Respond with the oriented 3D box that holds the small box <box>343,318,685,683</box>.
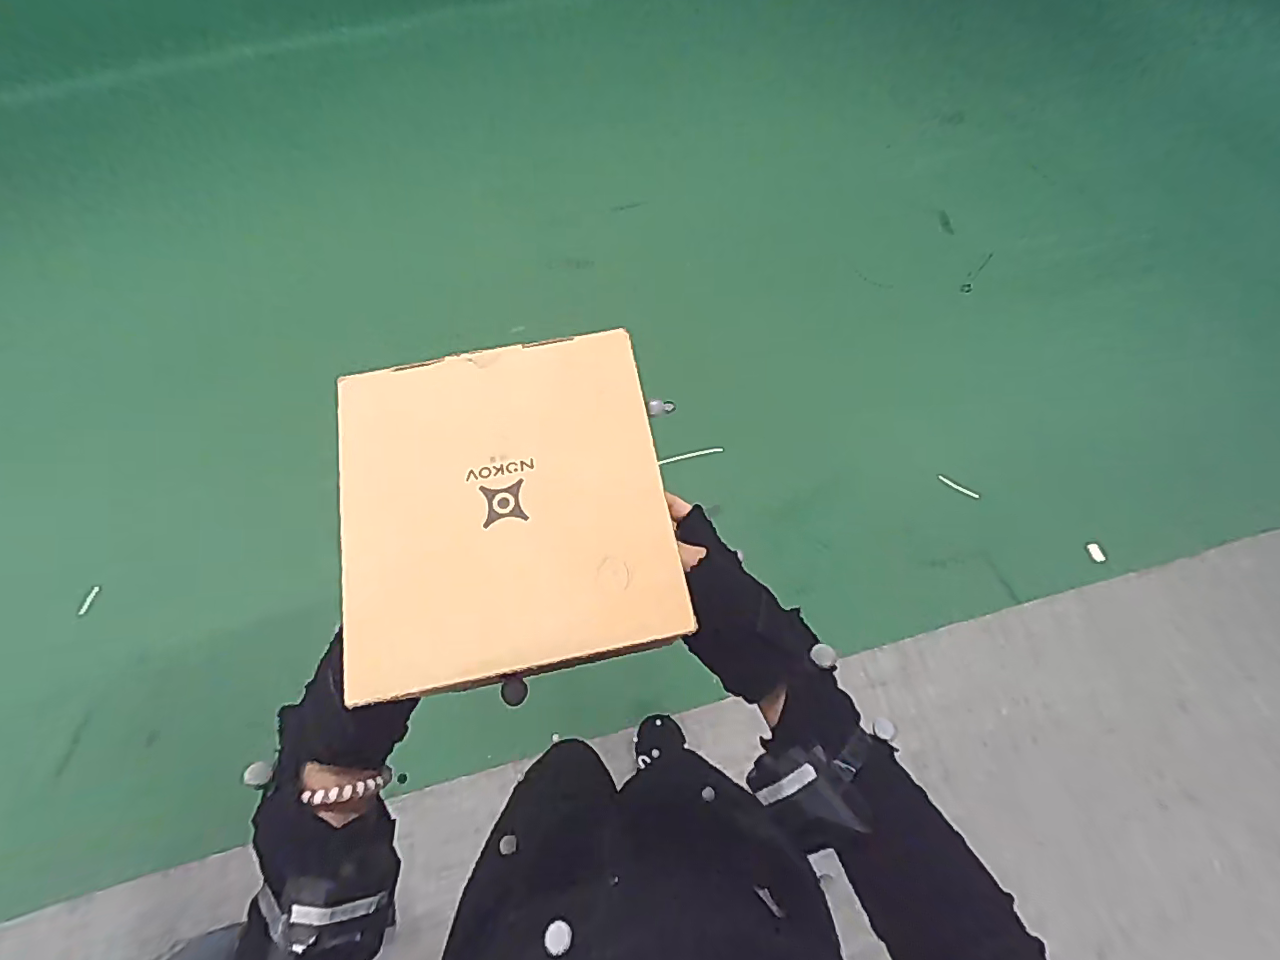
[{"bbox_3d":[-0.071,0.027,0.359,0.168,0.176,0.179,-11,70,-4],"label":"small box"}]
